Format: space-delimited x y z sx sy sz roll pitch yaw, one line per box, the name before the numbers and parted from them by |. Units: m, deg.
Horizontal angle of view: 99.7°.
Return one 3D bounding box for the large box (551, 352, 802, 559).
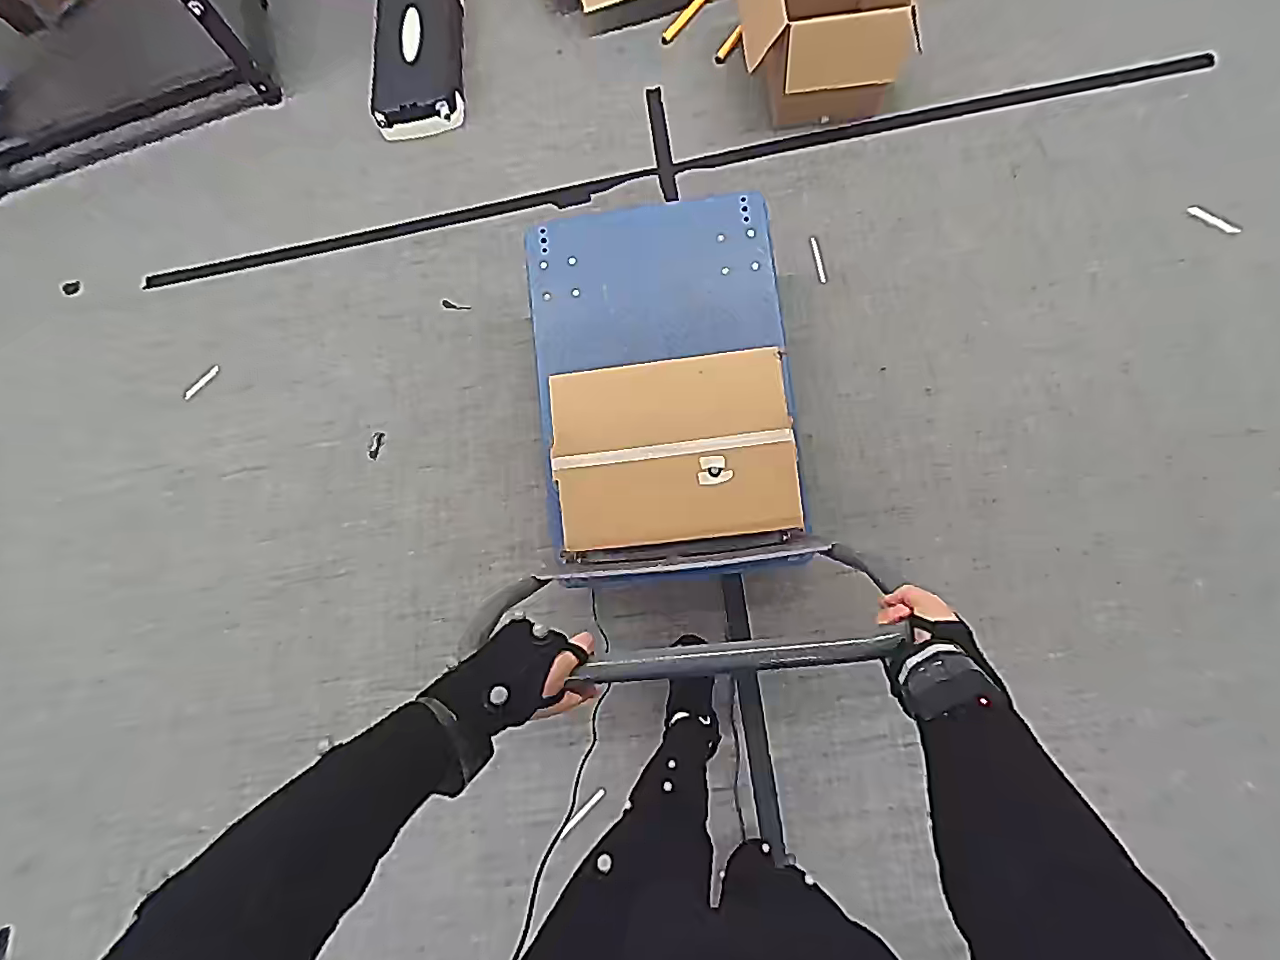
large box | 0.066 -0.029 1.078 0.408 0.320 0.320 -8 85 3
